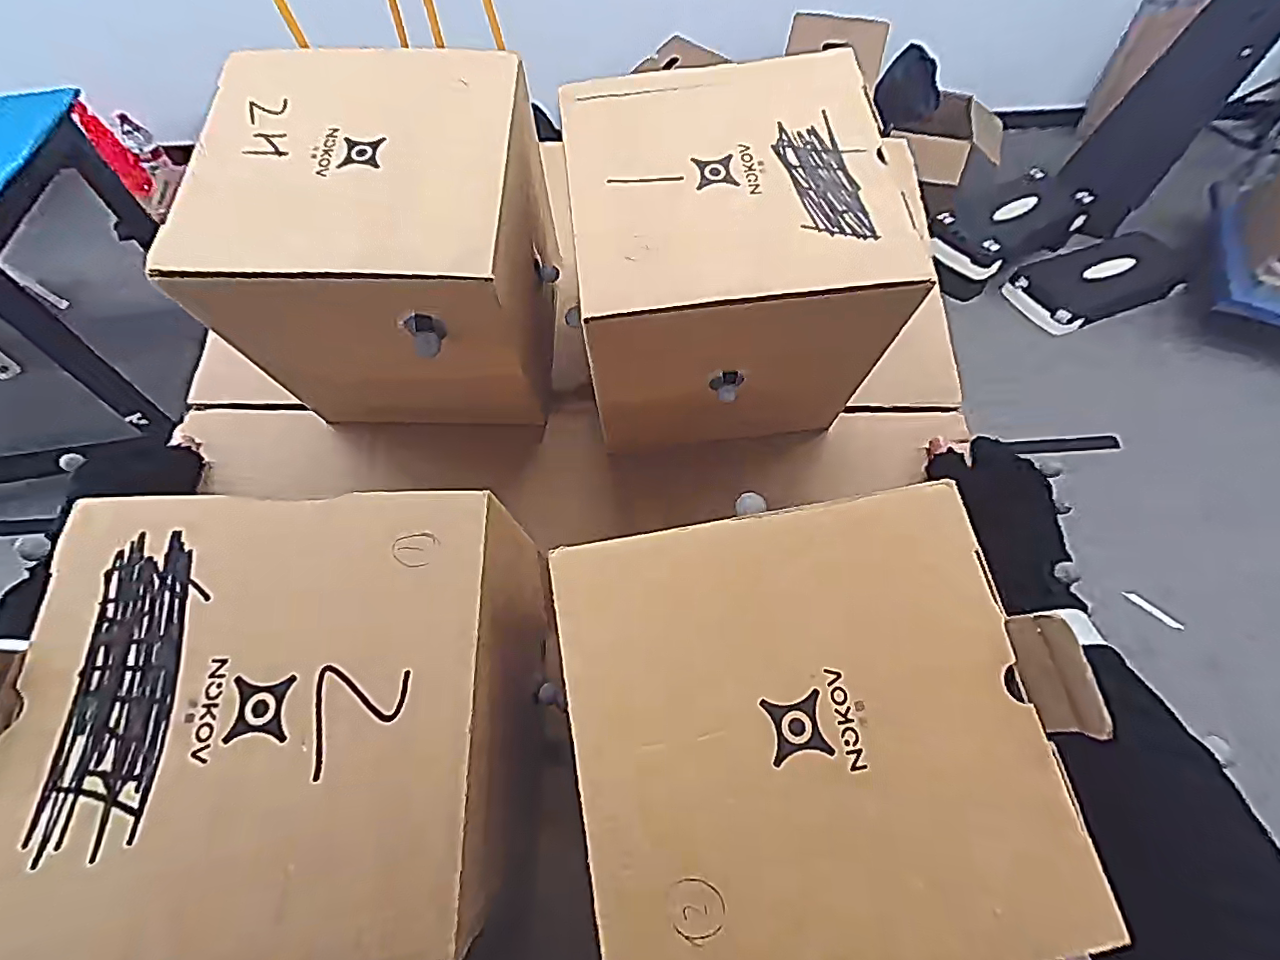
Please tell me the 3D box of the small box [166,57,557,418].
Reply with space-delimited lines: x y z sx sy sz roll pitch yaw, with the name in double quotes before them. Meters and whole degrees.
"small box" -0.159 -0.153 0.383 0.179 0.176 0.168 2 70 1
